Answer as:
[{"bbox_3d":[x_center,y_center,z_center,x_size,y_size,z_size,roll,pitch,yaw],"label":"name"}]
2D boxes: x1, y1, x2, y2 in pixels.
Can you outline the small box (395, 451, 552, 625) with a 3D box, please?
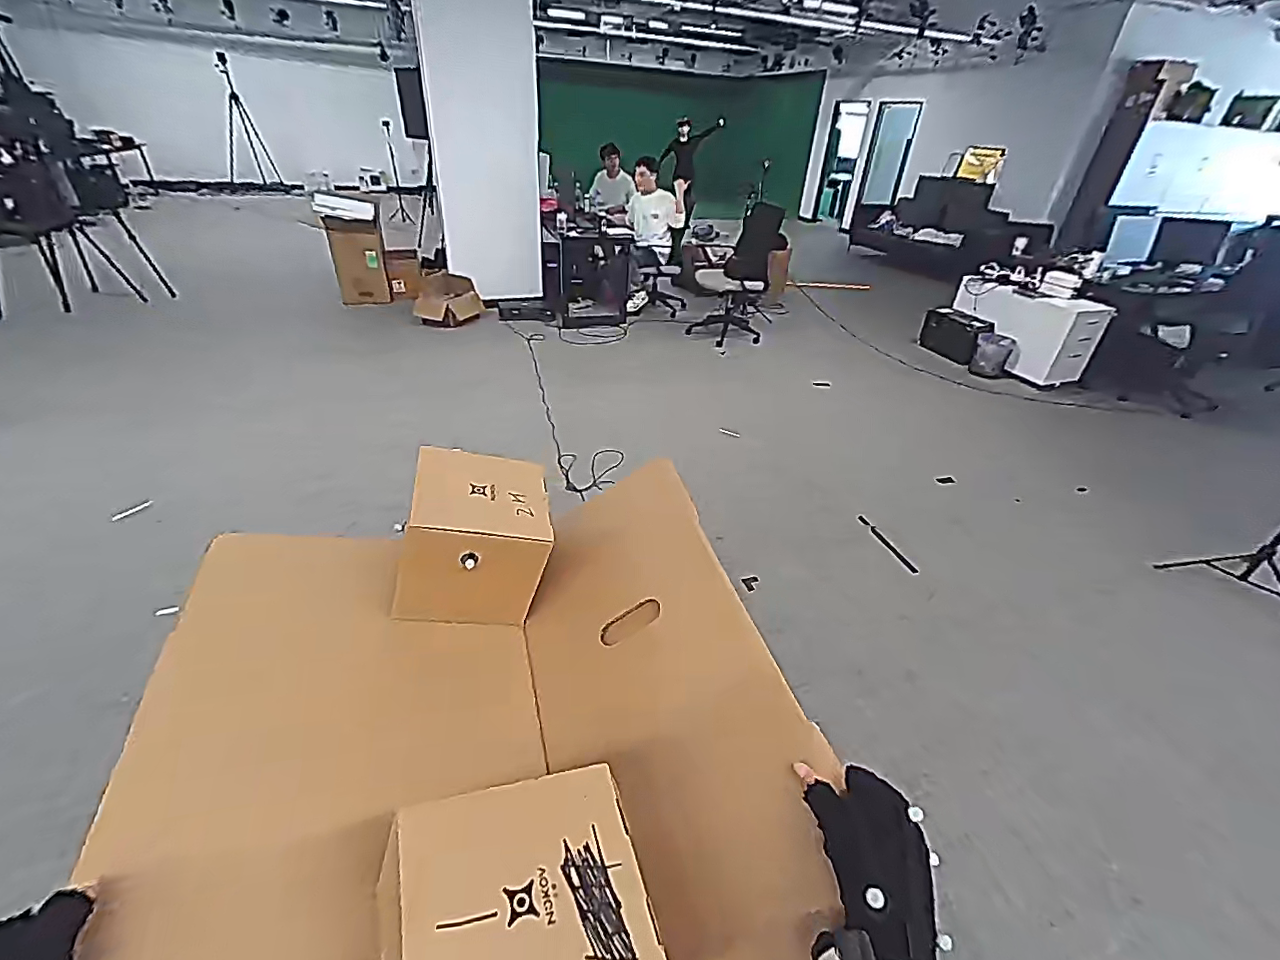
[{"bbox_3d":[-0.235,0.085,0.758,0.179,0.176,0.168,11,35,-23],"label":"small box"}]
